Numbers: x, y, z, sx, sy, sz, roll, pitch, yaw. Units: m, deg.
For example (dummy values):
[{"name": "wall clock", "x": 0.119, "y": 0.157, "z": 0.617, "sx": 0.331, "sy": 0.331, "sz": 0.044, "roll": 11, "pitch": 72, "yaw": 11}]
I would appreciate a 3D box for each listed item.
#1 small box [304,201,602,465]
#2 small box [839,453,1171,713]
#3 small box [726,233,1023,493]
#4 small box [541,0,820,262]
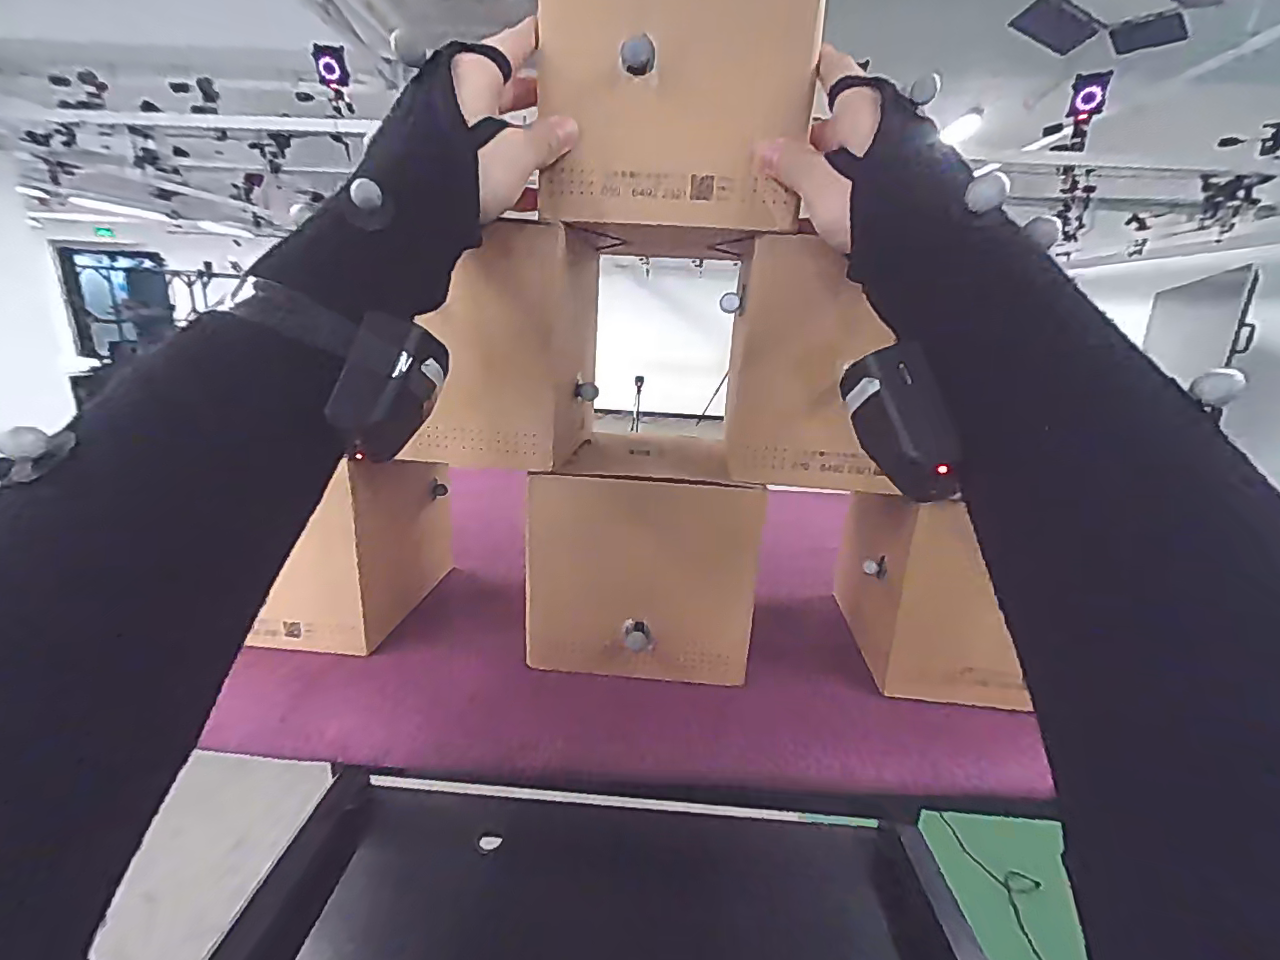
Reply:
[{"name": "small box", "x": -0.132, "y": -0.113, "z": 0.441, "sx": 0.179, "sy": 0.176, "sz": 0.168, "roll": 5, "pitch": 16, "yaw": 3}, {"name": "small box", "x": 0.284, "y": 0.074, "z": 0.470, "sx": 0.168, "sy": 0.176, "sz": 0.179, "roll": 5, "pitch": 15, "yaw": 6}, {"name": "small box", "x": 0.160, "y": -0.094, "z": 0.434, "sx": 0.168, "sy": 0.176, "sz": 0.179, "roll": 5, "pitch": 16, "yaw": 6}, {"name": "small box", "x": 0.028, "y": -0.259, "z": 0.396, "sx": 0.168, "sy": 0.176, "sz": 0.179, "roll": 4, "pitch": 16, "yaw": 3}]
